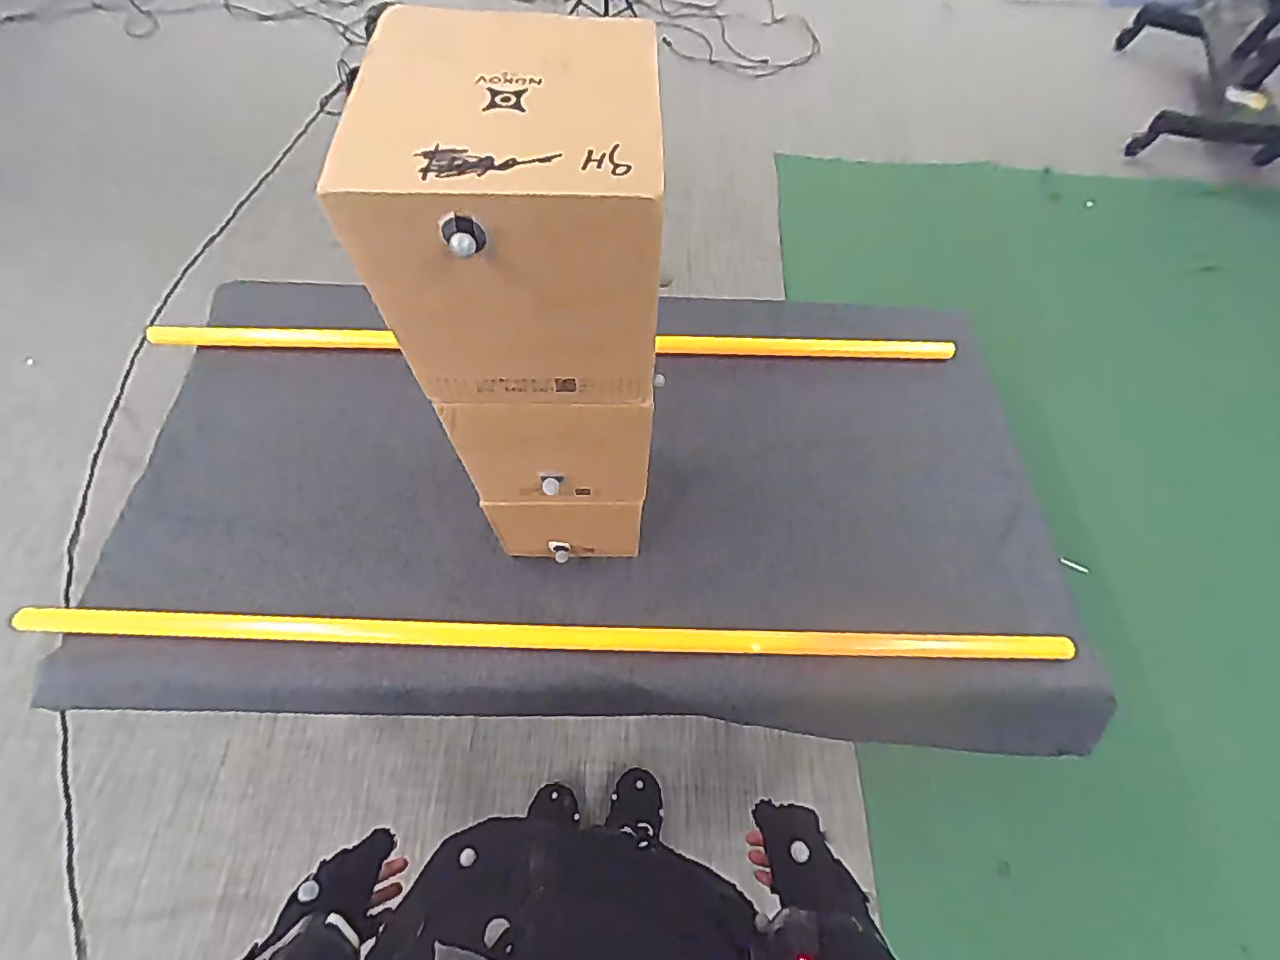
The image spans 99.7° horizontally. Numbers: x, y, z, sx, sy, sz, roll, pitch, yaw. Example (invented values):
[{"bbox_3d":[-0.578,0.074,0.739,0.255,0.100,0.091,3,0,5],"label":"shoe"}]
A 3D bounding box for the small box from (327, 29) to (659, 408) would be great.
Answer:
[{"bbox_3d":[-0.075,-0.171,0.375,0.168,0.176,0.179,0,61,-1],"label":"small box"}]

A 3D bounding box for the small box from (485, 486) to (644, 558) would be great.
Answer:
[{"bbox_3d":[-0.082,-0.014,0.663,0.168,0.176,0.179,-1,64,-2],"label":"small box"}]

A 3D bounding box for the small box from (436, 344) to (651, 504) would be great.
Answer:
[{"bbox_3d":[-0.076,-0.092,0.519,0.168,0.176,0.179,0,63,-1],"label":"small box"}]
